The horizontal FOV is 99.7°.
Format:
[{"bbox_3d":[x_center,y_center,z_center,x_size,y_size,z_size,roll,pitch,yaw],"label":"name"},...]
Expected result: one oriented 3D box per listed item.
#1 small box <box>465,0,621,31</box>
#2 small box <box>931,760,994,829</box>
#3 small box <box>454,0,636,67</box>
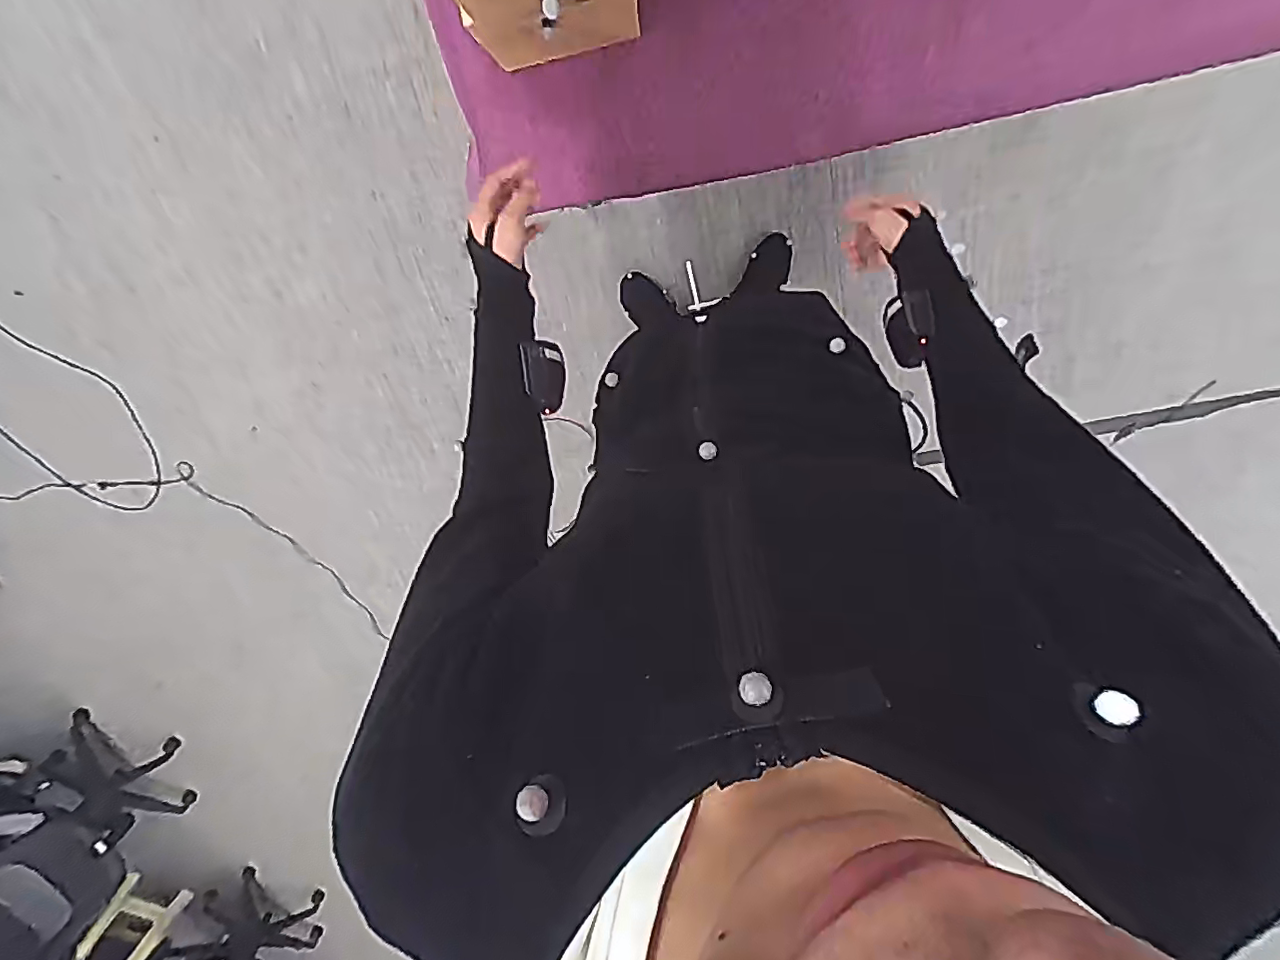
[{"bbox_3d":[-0.094,-0.497,0.418,0.168,0.176,0.179,-10,115,6],"label":"small box"},{"bbox_3d":[1.334,1.300,2.241,0.168,0.176,0.179,-18,114,9],"label":"small box"},{"bbox_3d":[-0.105,-0.567,0.566,0.179,0.176,0.168,-10,114,5],"label":"small box"}]
